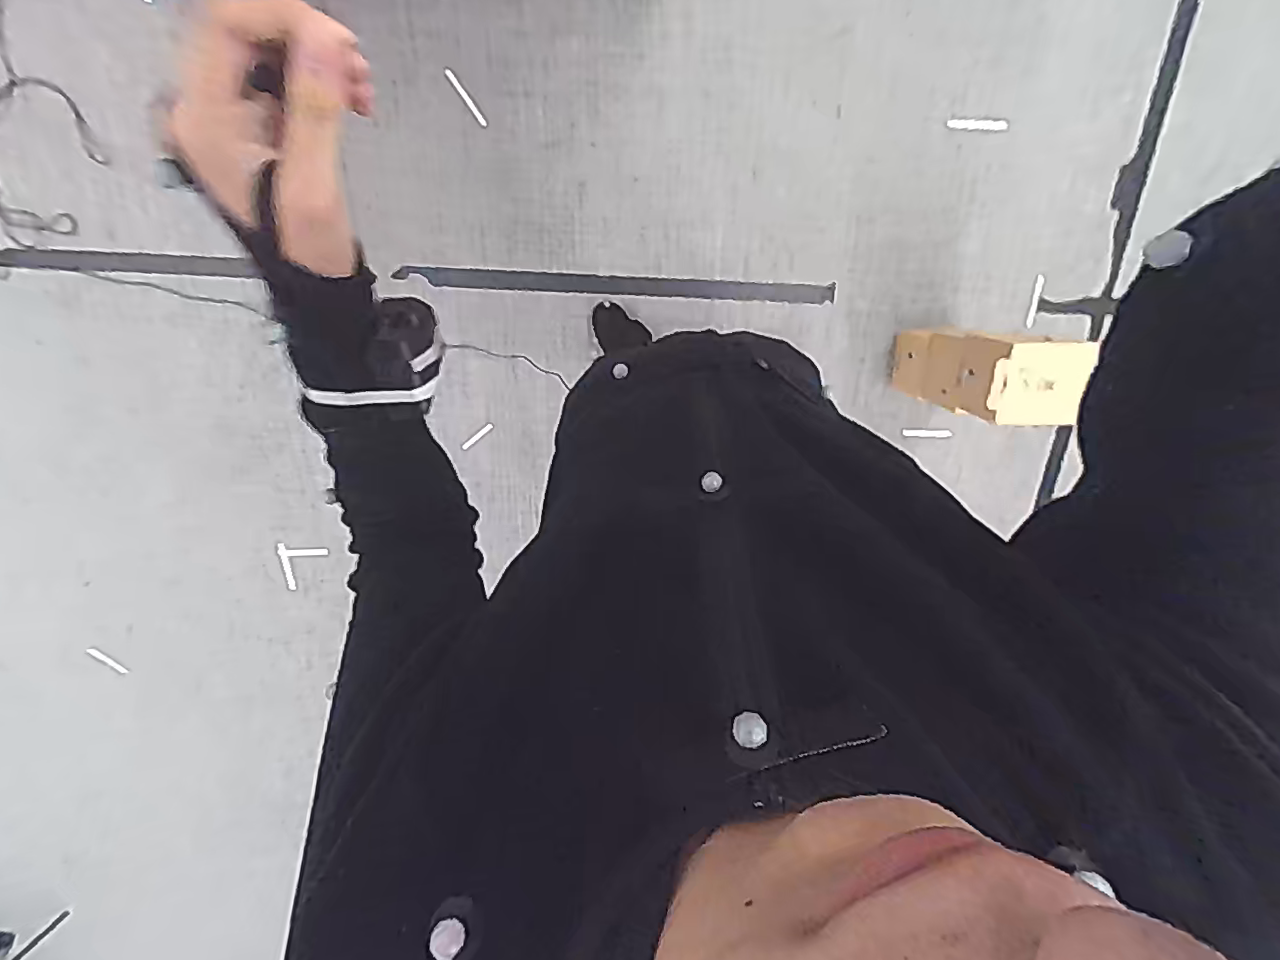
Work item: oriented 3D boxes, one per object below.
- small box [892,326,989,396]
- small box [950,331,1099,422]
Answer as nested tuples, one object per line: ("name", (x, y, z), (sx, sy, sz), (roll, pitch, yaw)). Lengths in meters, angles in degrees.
("small box", (0.814, -0.327, 1.476), (0.179, 0.176, 0.168), (-3, 111, 0))
("small box", (0.812, -0.227, 1.160), (0.179, 0.176, 0.168), (0, 112, -1))
